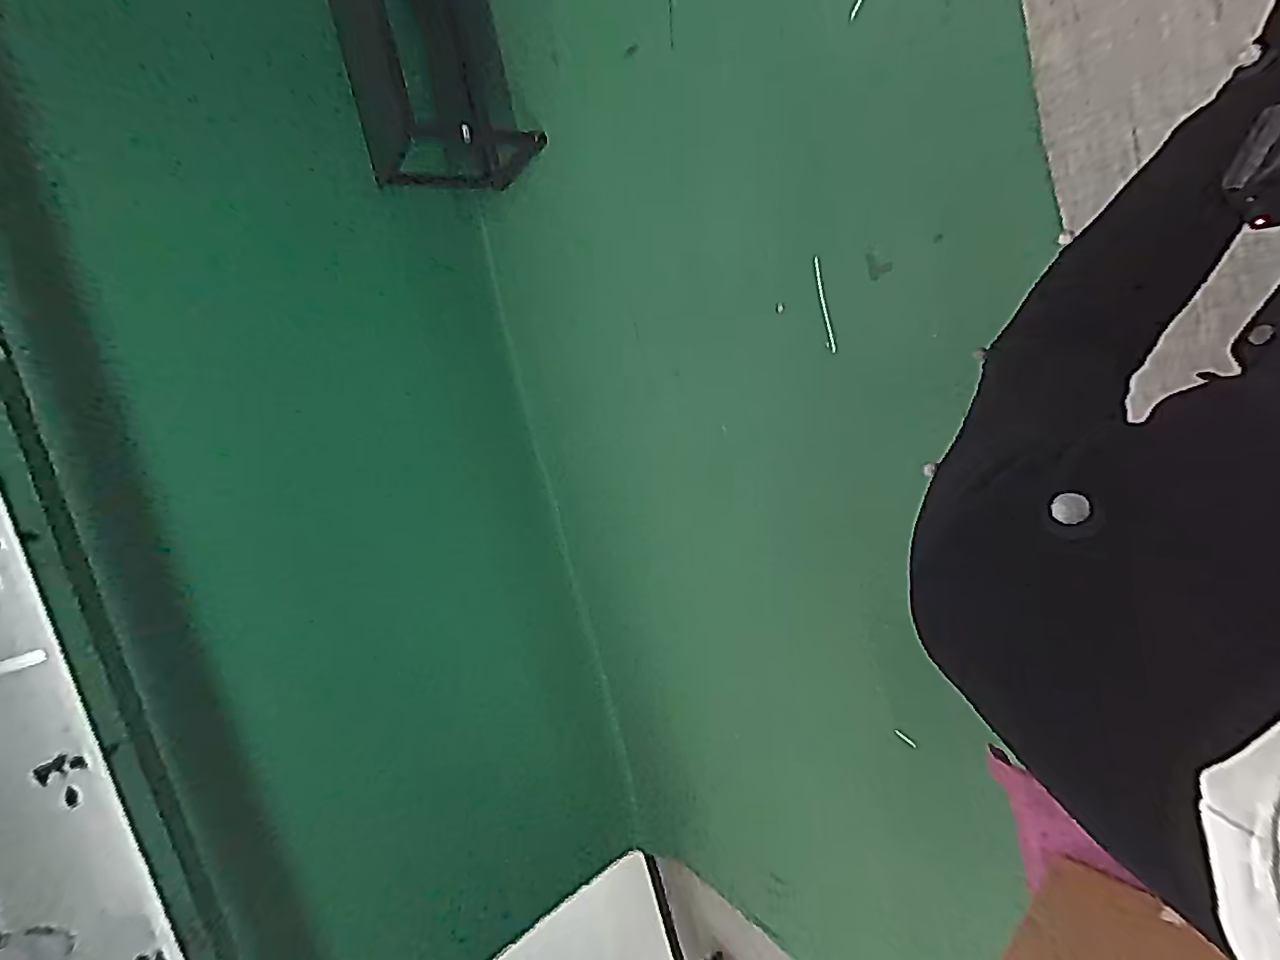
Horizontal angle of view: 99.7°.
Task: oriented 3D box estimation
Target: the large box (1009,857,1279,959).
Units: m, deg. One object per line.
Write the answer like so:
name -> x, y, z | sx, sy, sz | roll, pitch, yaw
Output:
large box -> 0.755, 0.868, 0.749 | 0.320, 0.320, 0.408 | -6, 100, 54
